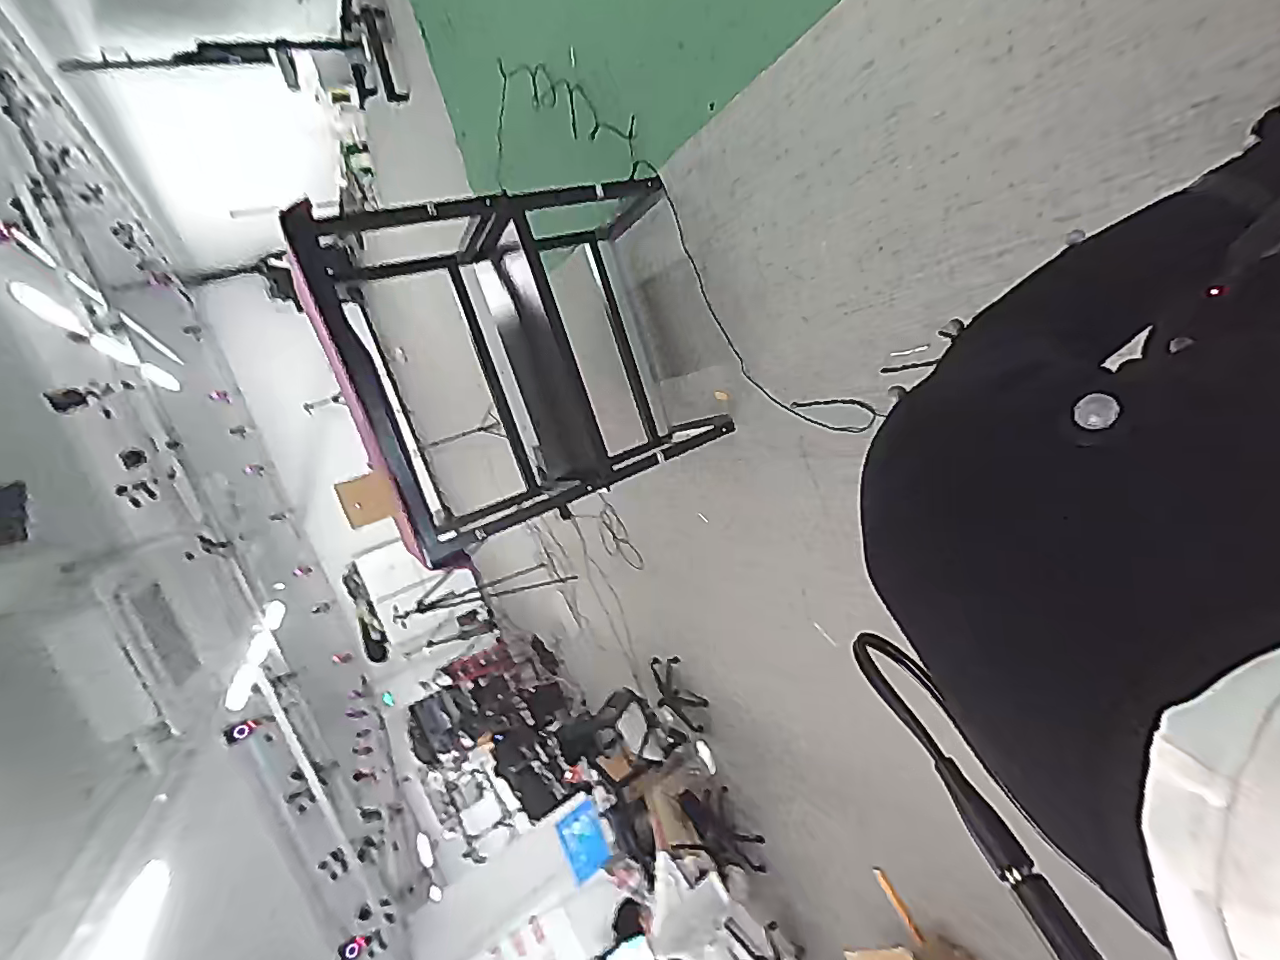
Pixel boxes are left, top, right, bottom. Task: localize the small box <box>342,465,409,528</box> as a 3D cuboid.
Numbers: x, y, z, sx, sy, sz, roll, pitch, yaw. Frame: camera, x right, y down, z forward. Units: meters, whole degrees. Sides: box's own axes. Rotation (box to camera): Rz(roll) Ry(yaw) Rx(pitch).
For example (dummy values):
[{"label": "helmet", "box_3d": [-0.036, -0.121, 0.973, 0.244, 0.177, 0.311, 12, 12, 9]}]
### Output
[{"label": "small box", "box_3d": [-0.946, 0.057, 1.939, 0.168, 0.176, 0.179, -5, 106, 61]}]
